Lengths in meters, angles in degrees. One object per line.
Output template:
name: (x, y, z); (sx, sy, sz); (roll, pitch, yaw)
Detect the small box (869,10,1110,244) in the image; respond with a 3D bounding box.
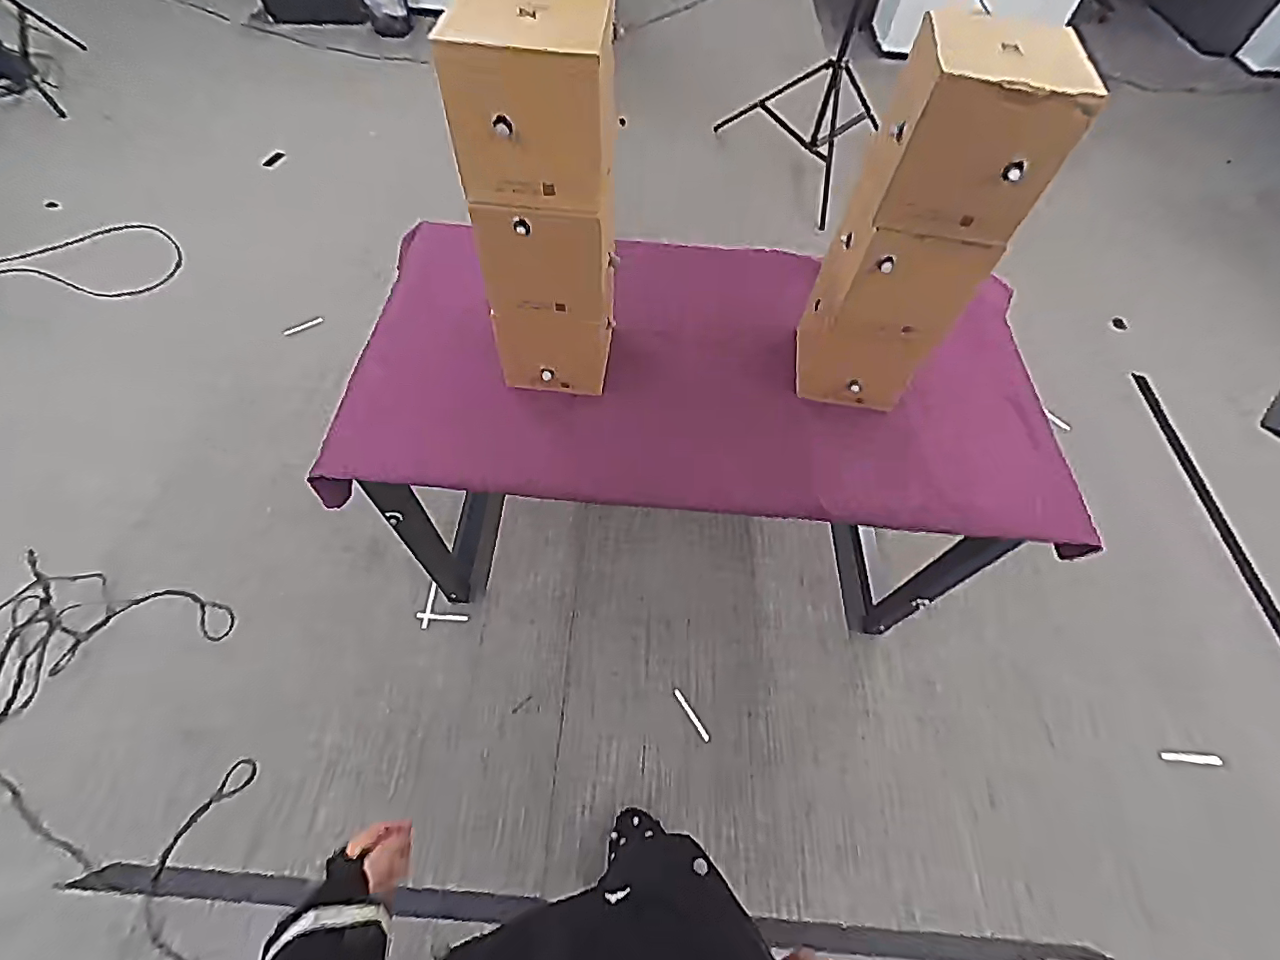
small box: (0.386, -0.408, 0.637); (0.168, 0.176, 0.179); (11, 58, 2)

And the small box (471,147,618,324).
small box: (-0.122, -0.349, 0.762); (0.168, 0.176, 0.179); (5, 58, 0)

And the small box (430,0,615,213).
small box: (-0.117, -0.435, 0.624); (0.168, 0.176, 0.179); (4, 58, -1)

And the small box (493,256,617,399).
small box: (-0.132, -0.262, 0.901); (0.168, 0.176, 0.179); (6, 60, 0)

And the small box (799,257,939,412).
small box: (0.375, -0.243, 0.919); (0.168, 0.176, 0.179); (9, 59, 3)
